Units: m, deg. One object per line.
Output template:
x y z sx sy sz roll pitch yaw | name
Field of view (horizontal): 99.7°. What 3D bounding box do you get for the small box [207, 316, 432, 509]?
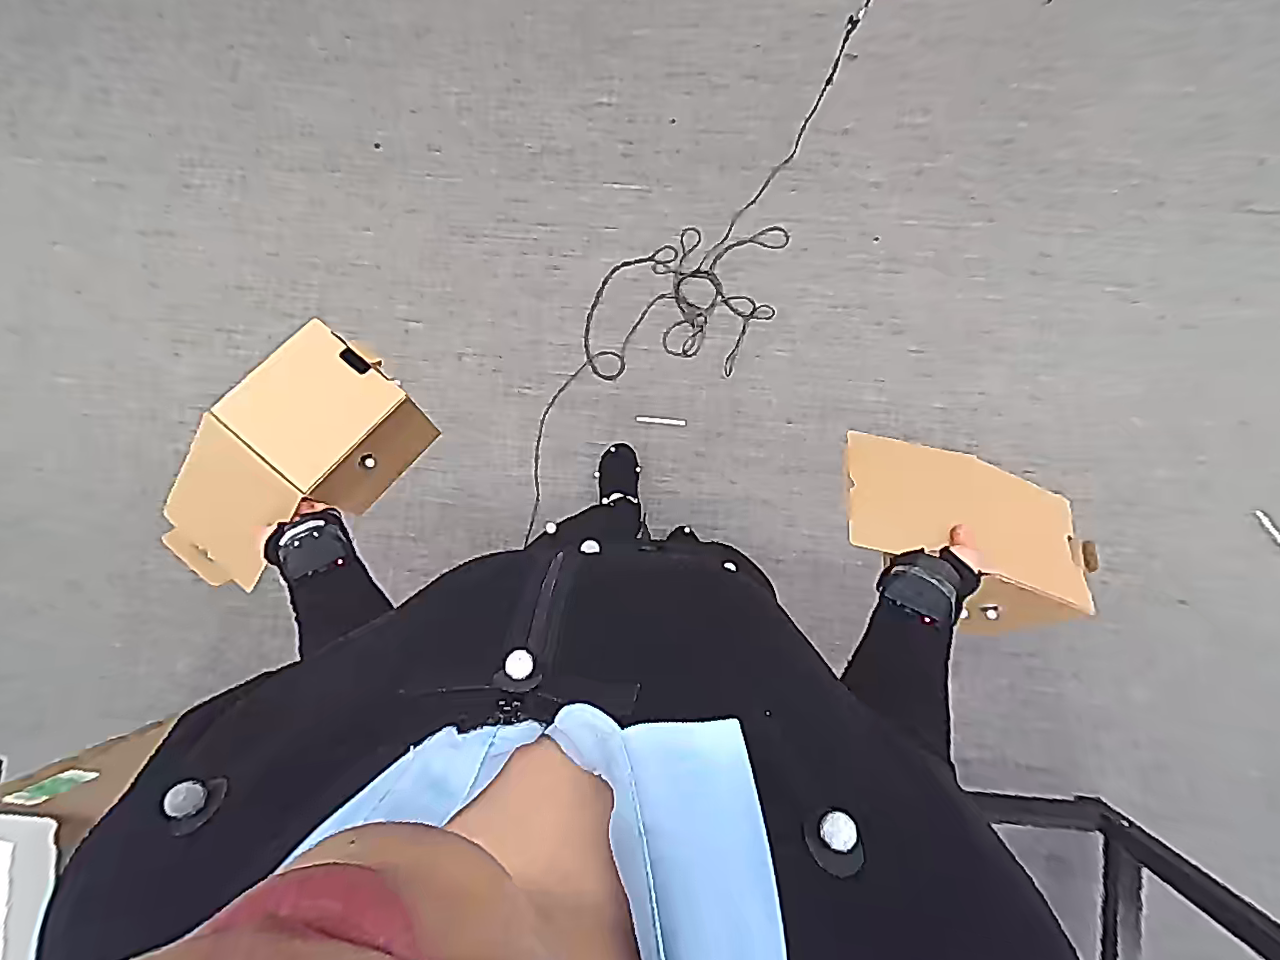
-0.421 -0.081 0.748 0.168 0.176 0.179 40 76 4 | small box
